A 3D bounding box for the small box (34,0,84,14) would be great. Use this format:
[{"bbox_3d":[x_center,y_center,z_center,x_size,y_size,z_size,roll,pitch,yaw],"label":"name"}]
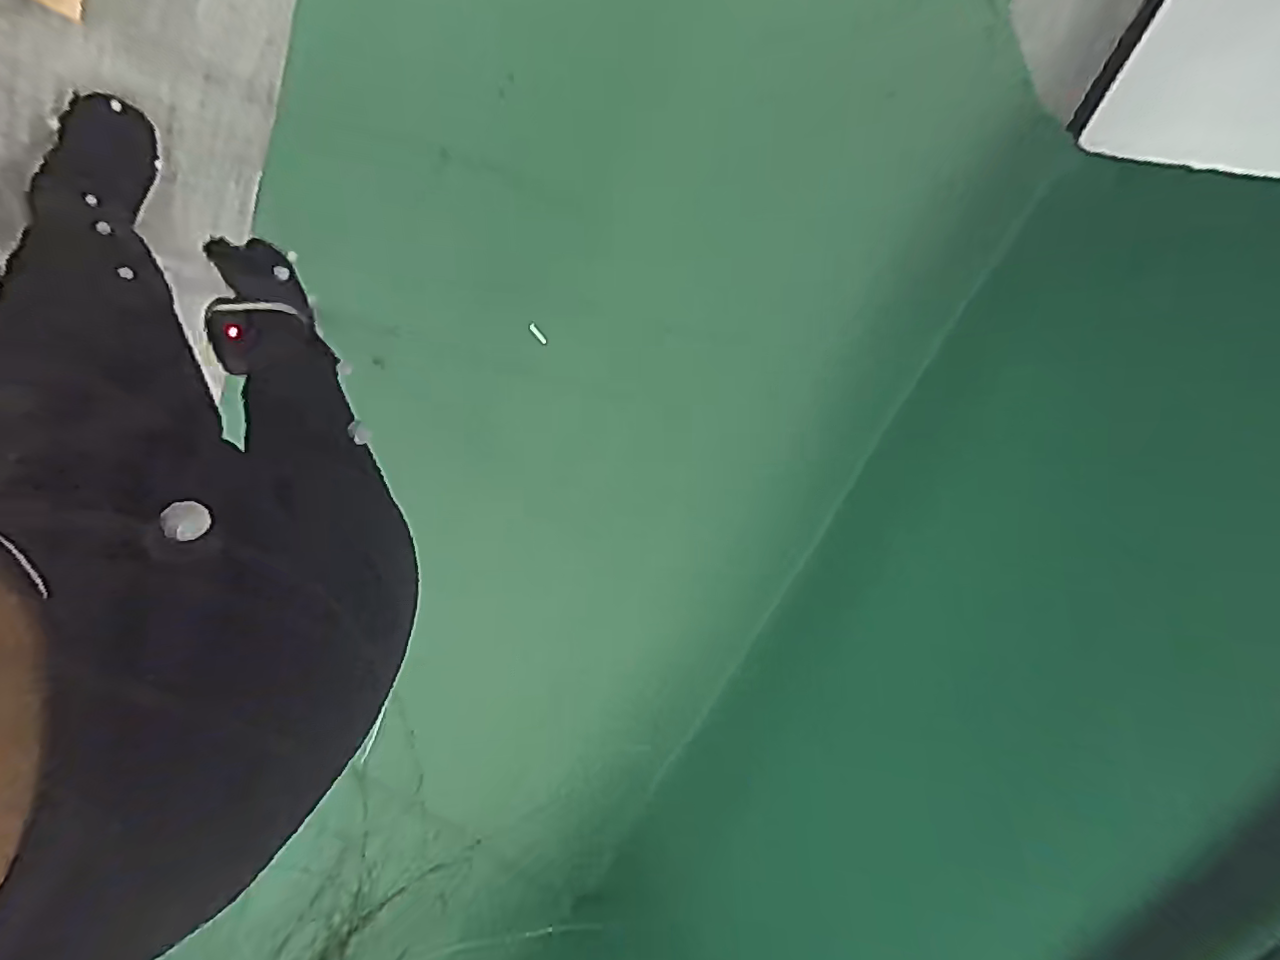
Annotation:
[{"bbox_3d":[-0.827,-0.742,0.689,0.168,0.176,0.179,5,117,-45],"label":"small box"}]
